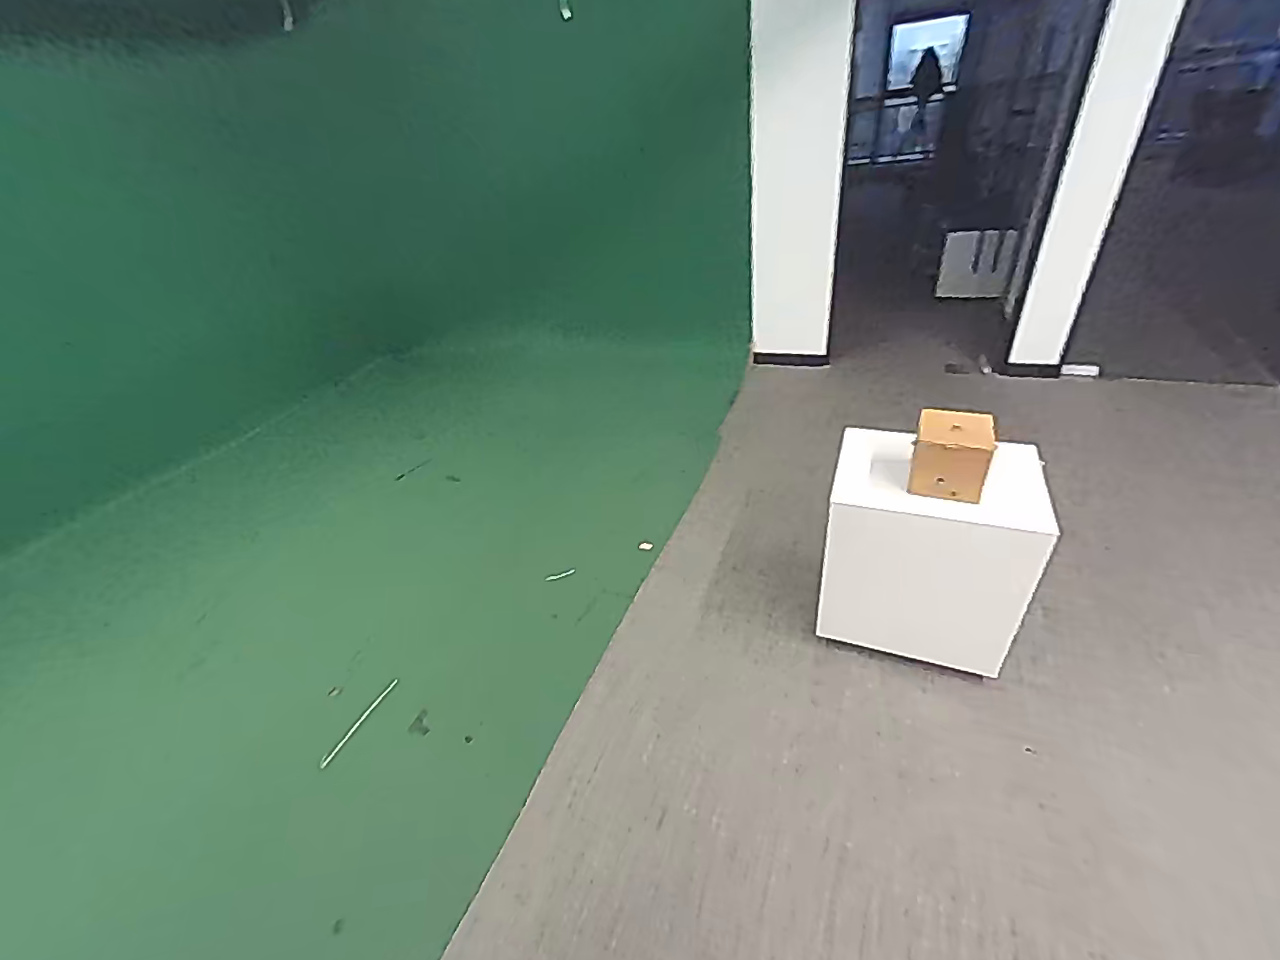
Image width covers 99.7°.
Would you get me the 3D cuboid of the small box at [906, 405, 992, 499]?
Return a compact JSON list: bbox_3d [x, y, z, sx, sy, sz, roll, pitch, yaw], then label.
[{"bbox_3d":[0.800,-0.075,1.412,0.168,0.176,0.179,9,39,23],"label":"small box"}]
